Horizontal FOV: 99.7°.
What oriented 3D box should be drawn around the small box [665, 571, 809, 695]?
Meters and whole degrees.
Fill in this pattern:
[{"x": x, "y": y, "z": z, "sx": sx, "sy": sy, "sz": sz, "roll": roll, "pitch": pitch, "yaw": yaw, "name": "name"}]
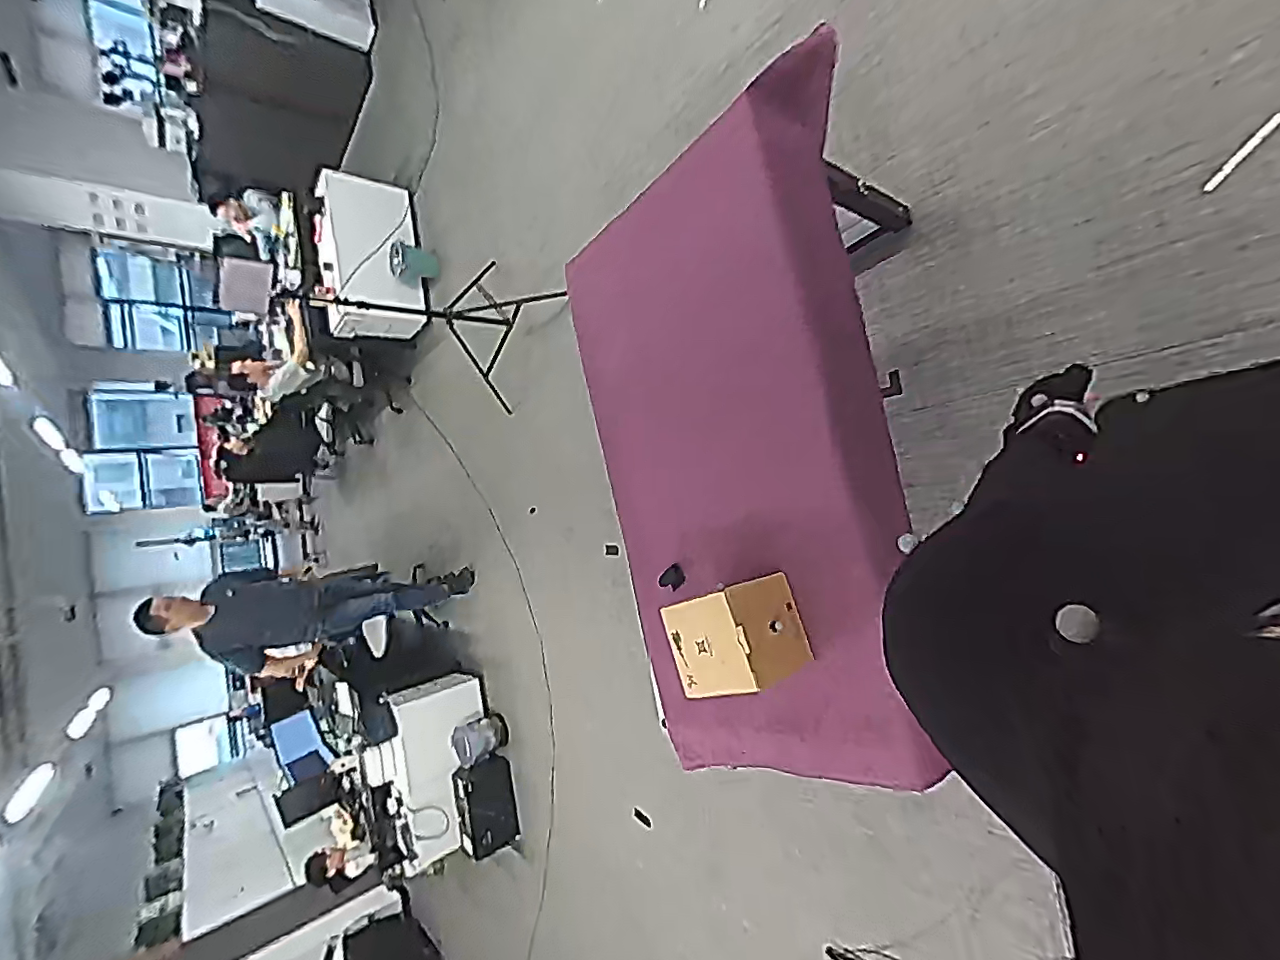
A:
[{"x": 0.180, "y": 0.272, "z": 0.973, "sx": 0.179, "sy": 0.176, "sz": 0.168, "roll": -31, "pitch": 71, "yaw": 47, "name": "small box"}]
